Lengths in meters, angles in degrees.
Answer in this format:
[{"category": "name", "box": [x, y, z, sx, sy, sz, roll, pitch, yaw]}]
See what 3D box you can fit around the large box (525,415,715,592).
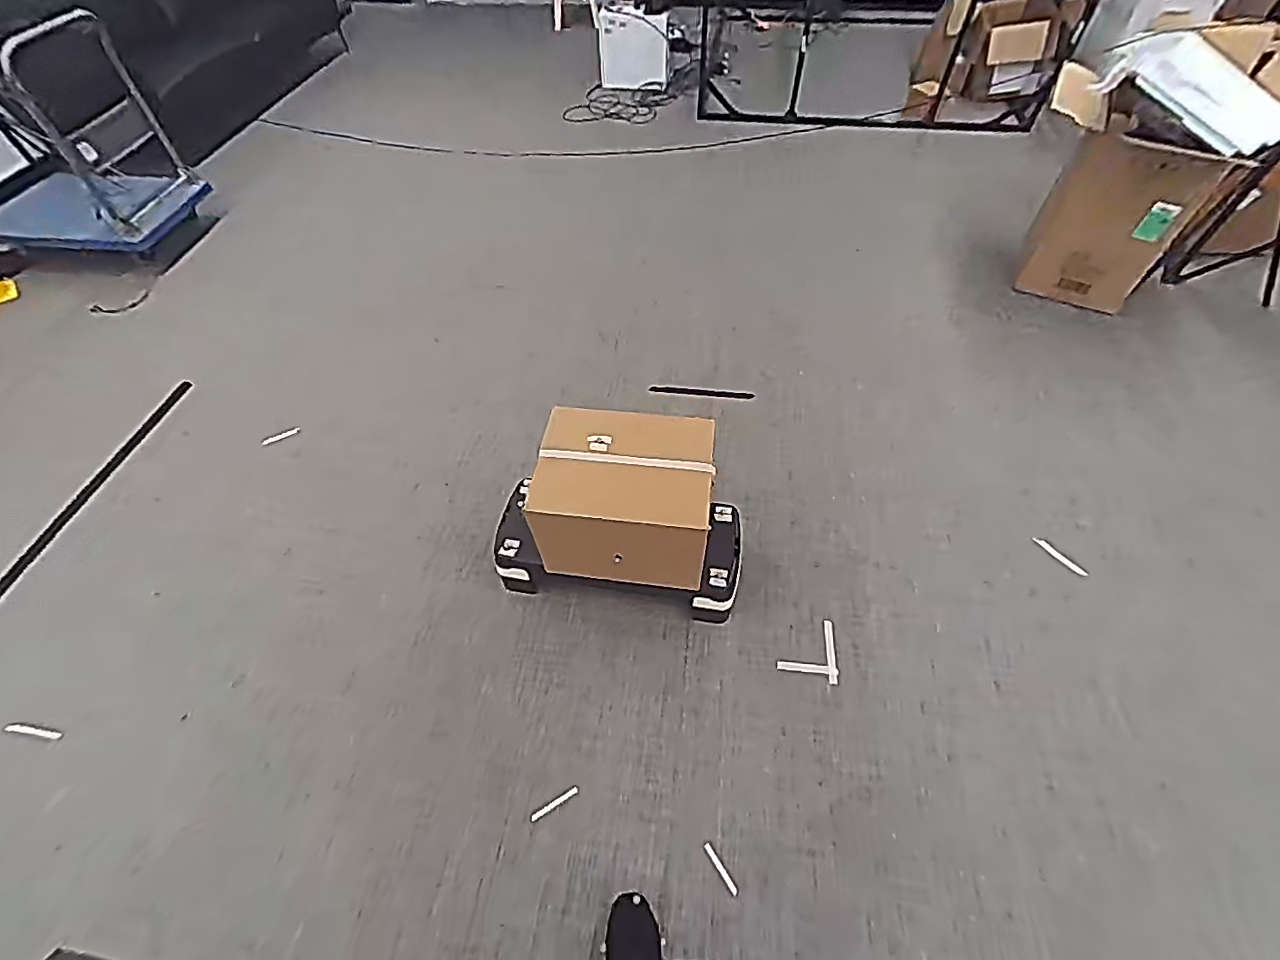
[{"category": "large box", "box": [-0.027, 0.064, 1.350, 0.408, 0.320, 0.320, 5, 53, 6]}]
